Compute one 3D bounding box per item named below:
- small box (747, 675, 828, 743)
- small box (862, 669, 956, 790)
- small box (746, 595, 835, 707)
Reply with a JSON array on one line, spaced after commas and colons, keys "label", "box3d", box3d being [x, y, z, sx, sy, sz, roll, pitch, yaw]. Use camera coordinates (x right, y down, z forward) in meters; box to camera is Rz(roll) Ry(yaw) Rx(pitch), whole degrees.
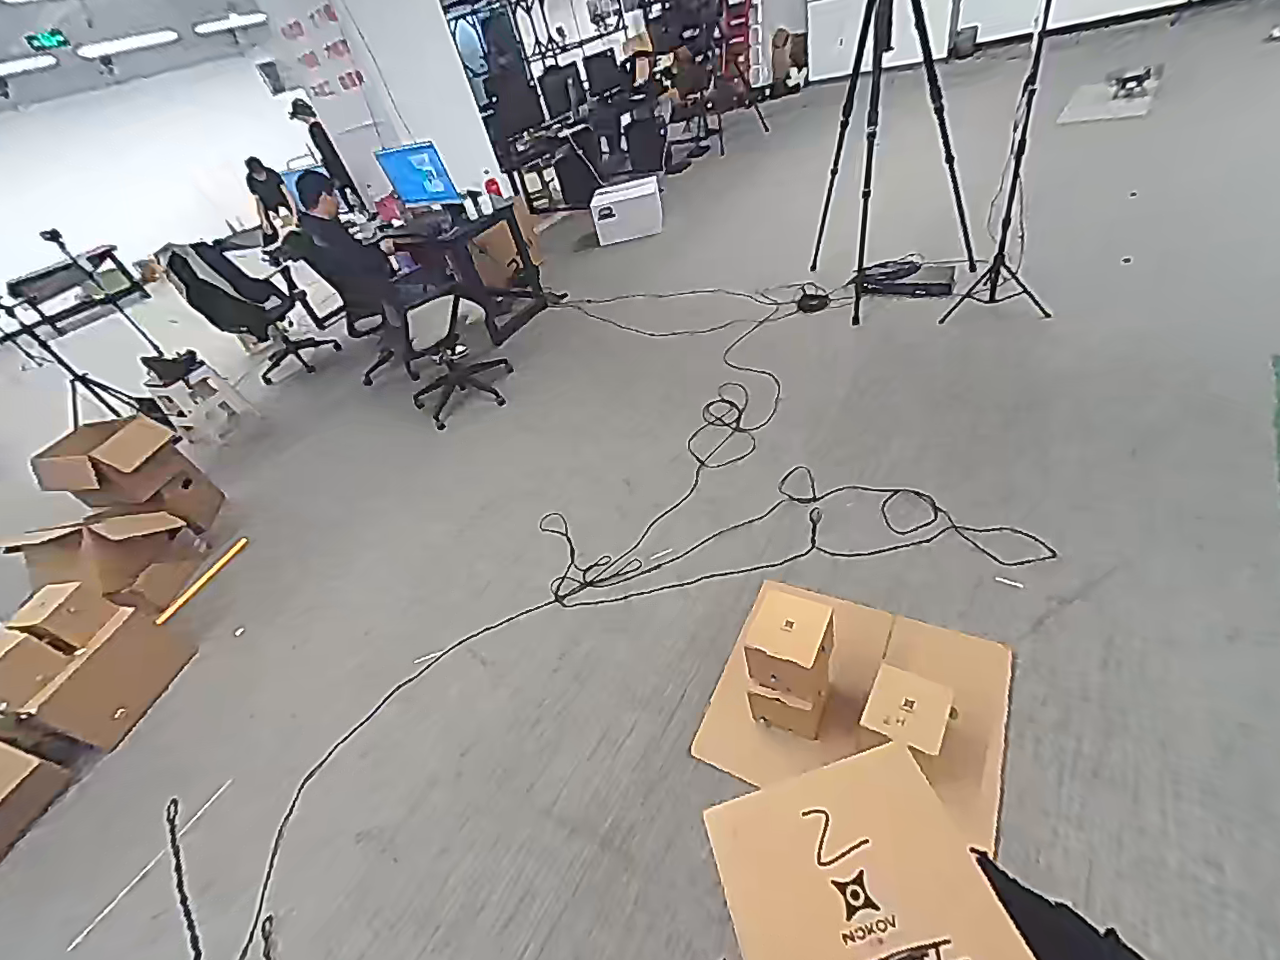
[{"label": "small box", "box3d": [0.399, 0.562, 1.434, 0.168, 0.176, 0.179, 9, 46, 29]}, {"label": "small box", "box3d": [0.642, 0.599, 1.303, 0.168, 0.176, 0.179, 14, 50, 34]}, {"label": "small box", "box3d": [0.377, 0.424, 1.345, 0.168, 0.176, 0.179, 12, 48, 31]}]
